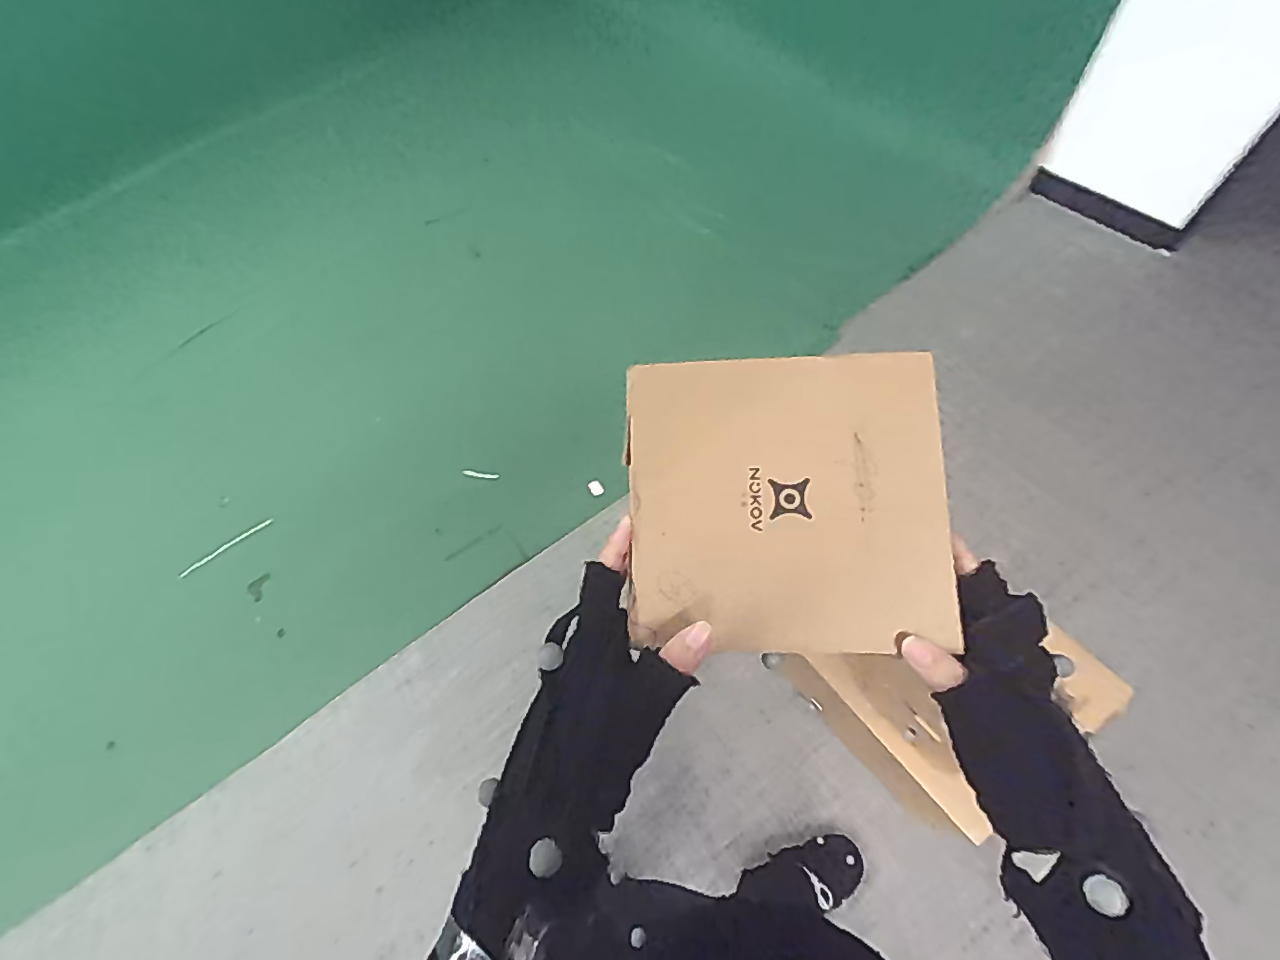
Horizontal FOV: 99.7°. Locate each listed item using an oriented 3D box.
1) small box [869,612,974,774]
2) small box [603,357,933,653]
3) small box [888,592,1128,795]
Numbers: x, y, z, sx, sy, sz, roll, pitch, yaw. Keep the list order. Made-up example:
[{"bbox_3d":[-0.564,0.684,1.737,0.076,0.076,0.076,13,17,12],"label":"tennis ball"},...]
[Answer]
[{"bbox_3d":[0.499,0.349,0.880,0.179,0.176,0.168,-38,63,-9],"label":"small box"},{"bbox_3d":[0.074,0.025,0.382,0.179,0.176,0.168,-3,82,5],"label":"small box"},{"bbox_3d":[0.474,0.284,0.730,0.168,0.176,0.179,-39,64,-10],"label":"small box"}]
